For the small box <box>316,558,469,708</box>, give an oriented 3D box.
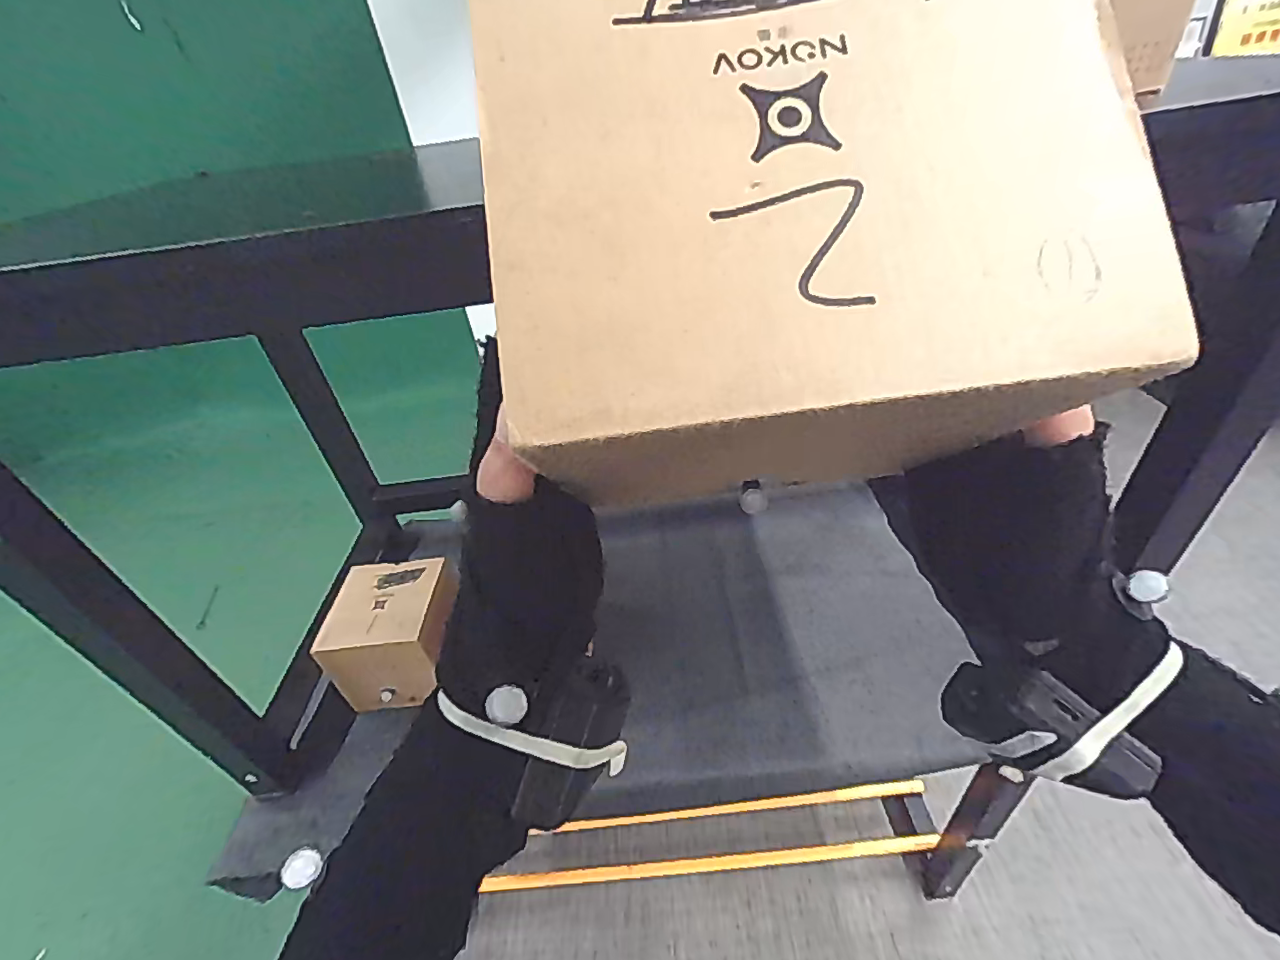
[{"bbox_3d":[-0.400,0.257,0.918,0.168,0.176,0.179,-6,37,2],"label":"small box"}]
